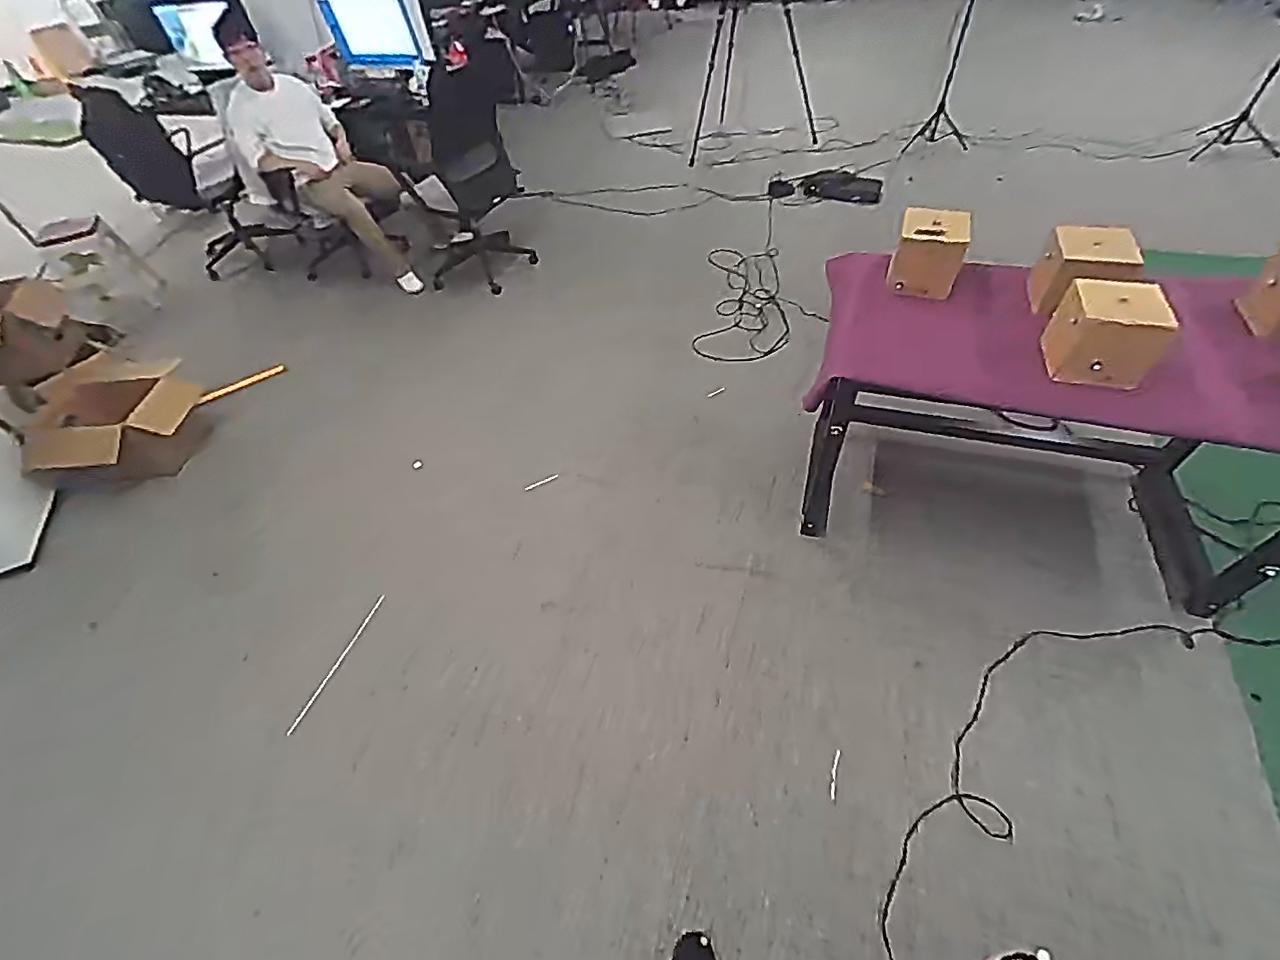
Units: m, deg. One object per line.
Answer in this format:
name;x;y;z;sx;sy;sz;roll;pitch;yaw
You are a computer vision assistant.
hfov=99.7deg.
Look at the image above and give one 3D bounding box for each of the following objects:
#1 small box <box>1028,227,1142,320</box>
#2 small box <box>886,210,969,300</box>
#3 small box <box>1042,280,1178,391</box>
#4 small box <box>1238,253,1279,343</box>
small box;1.139;-0.531;1.403;0.168;0.176;0.179;12;53;16
small box;0.805;-0.631;1.520;0.168;0.176;0.179;14;53;16
small box;1.061;-0.332;1.241;0.168;0.176;0.179;11;51;15
small box;1.581;-0.431;1.267;0.168;0.176;0.179;10;51;16
